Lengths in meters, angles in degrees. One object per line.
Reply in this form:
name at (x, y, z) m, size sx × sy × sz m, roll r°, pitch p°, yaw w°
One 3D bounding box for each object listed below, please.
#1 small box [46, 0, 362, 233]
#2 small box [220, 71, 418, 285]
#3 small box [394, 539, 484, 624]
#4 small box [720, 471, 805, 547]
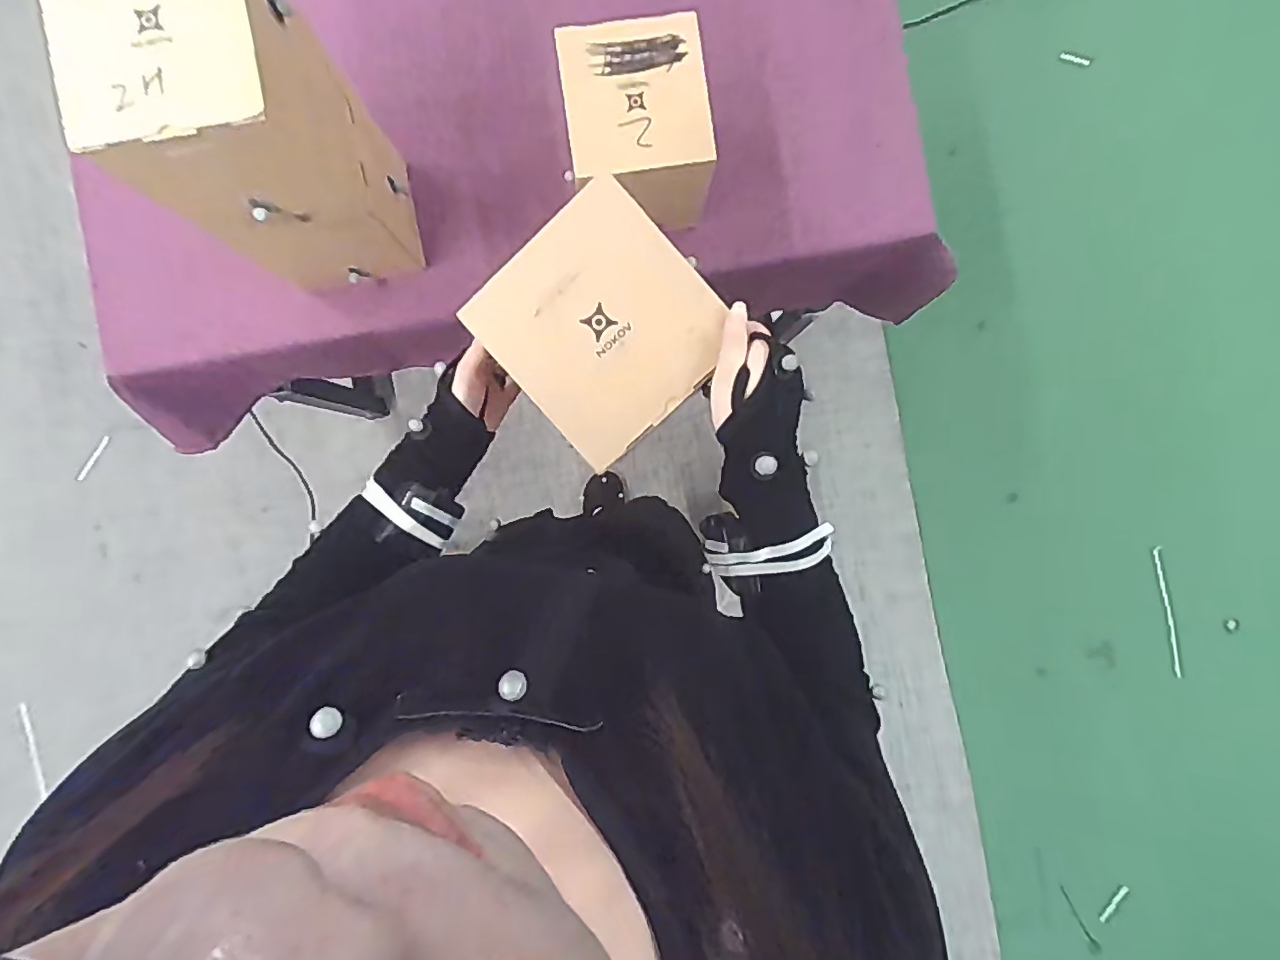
small box at (-0.399, -0.371, 0.522) m, size 0.168 × 0.176 × 0.179 m, roll -10°, pitch 90°, yaw -1°
small box at (-0.402, -0.368, 0.688) m, size 0.179 × 0.176 × 0.168 m, roll -11°, pitch 90°, yaw -2°
small box at (-0.521, 0.262, 1.424) m, size 0.168 × 0.176 × 0.179 m, roll -9°, pitch 90°, yaw -1°
small box at (0.316, 0.074, 1.443) m, size 0.179 × 0.176 × 0.168 m, roll -12°, pitch 91°, yaw -2°
